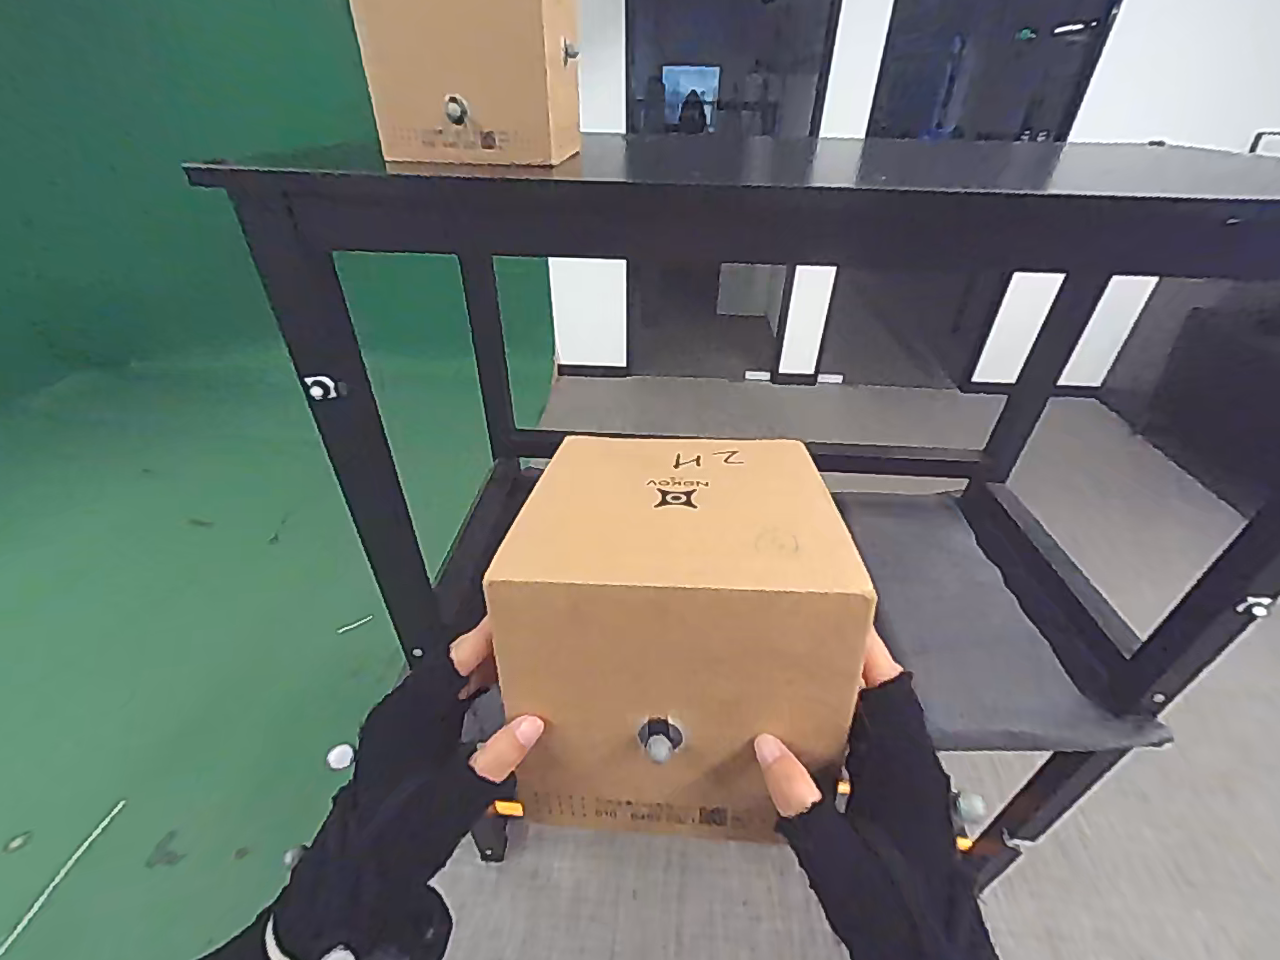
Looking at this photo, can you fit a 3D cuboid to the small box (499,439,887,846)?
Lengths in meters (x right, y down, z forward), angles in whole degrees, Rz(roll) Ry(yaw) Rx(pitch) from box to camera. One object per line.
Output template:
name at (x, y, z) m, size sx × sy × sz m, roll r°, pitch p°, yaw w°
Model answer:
small box at (0.029, 0.085, 0.332) m, size 0.168 × 0.176 × 0.179 m, roll 2°, pitch 26°, yaw 5°
